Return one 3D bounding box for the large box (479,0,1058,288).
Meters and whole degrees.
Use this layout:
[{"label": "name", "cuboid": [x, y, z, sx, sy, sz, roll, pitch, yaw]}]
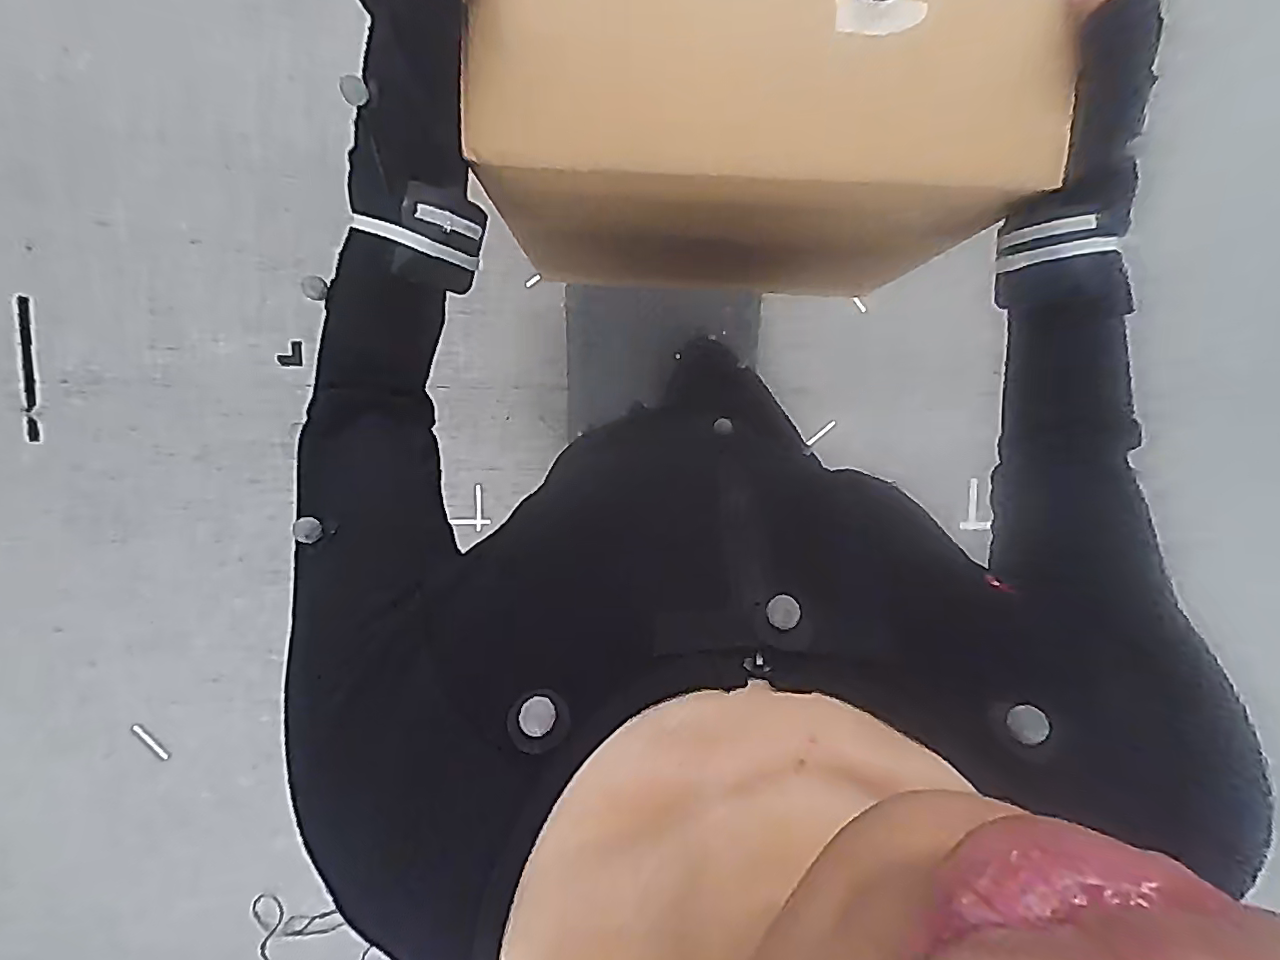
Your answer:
[{"label": "large box", "cuboid": [0.085, -0.382, 0.513, 0.408, 0.320, 0.320, 2, 96, -1]}]
